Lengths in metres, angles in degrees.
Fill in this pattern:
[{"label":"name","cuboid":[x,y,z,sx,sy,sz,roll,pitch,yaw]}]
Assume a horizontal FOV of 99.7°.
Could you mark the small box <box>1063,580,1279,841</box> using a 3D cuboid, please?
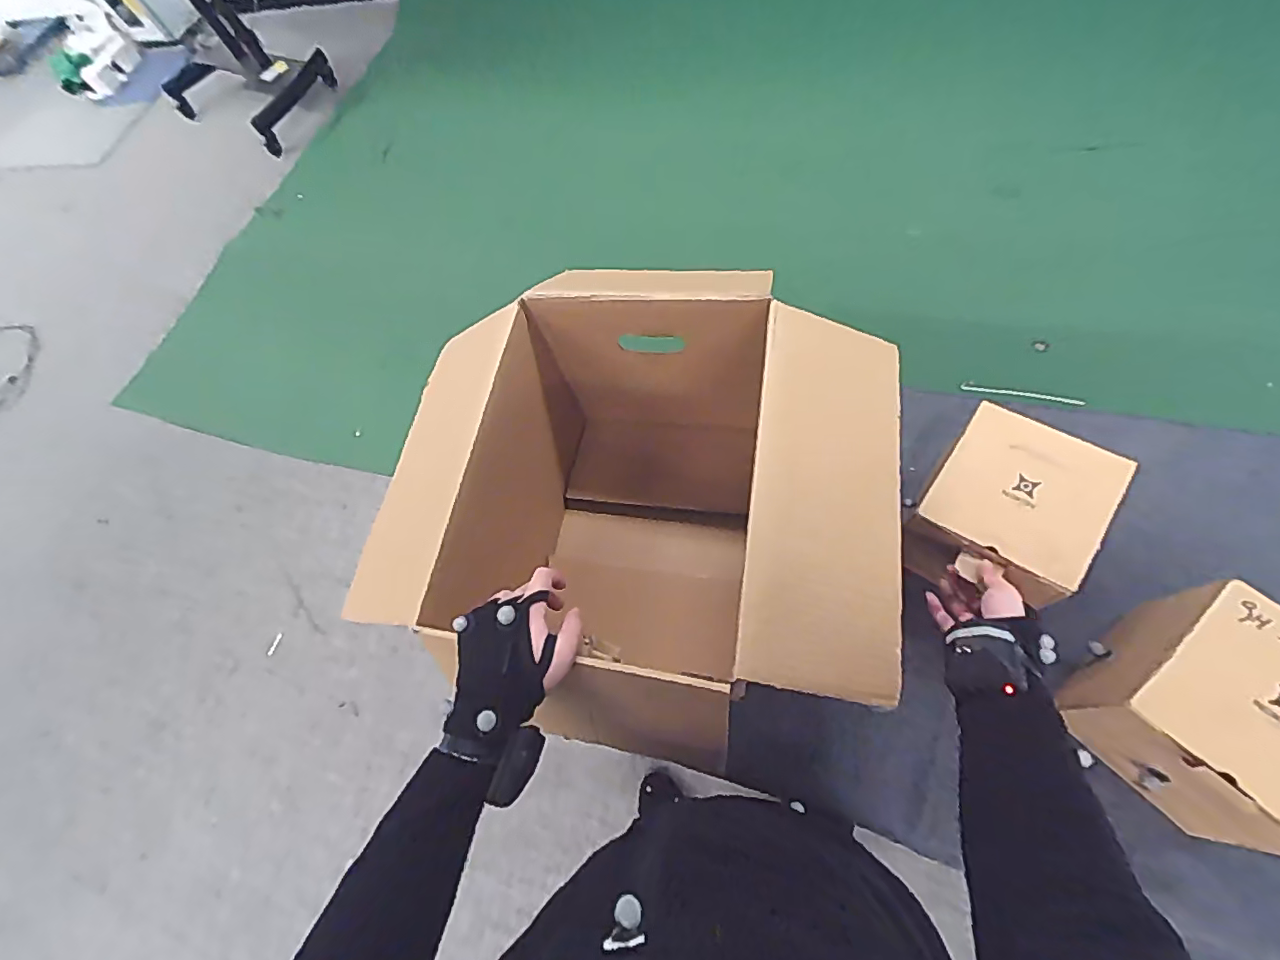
[{"label":"small box","cuboid":[0.586,0.236,0.553,0.179,0.176,0.168,-41,64,-7]}]
